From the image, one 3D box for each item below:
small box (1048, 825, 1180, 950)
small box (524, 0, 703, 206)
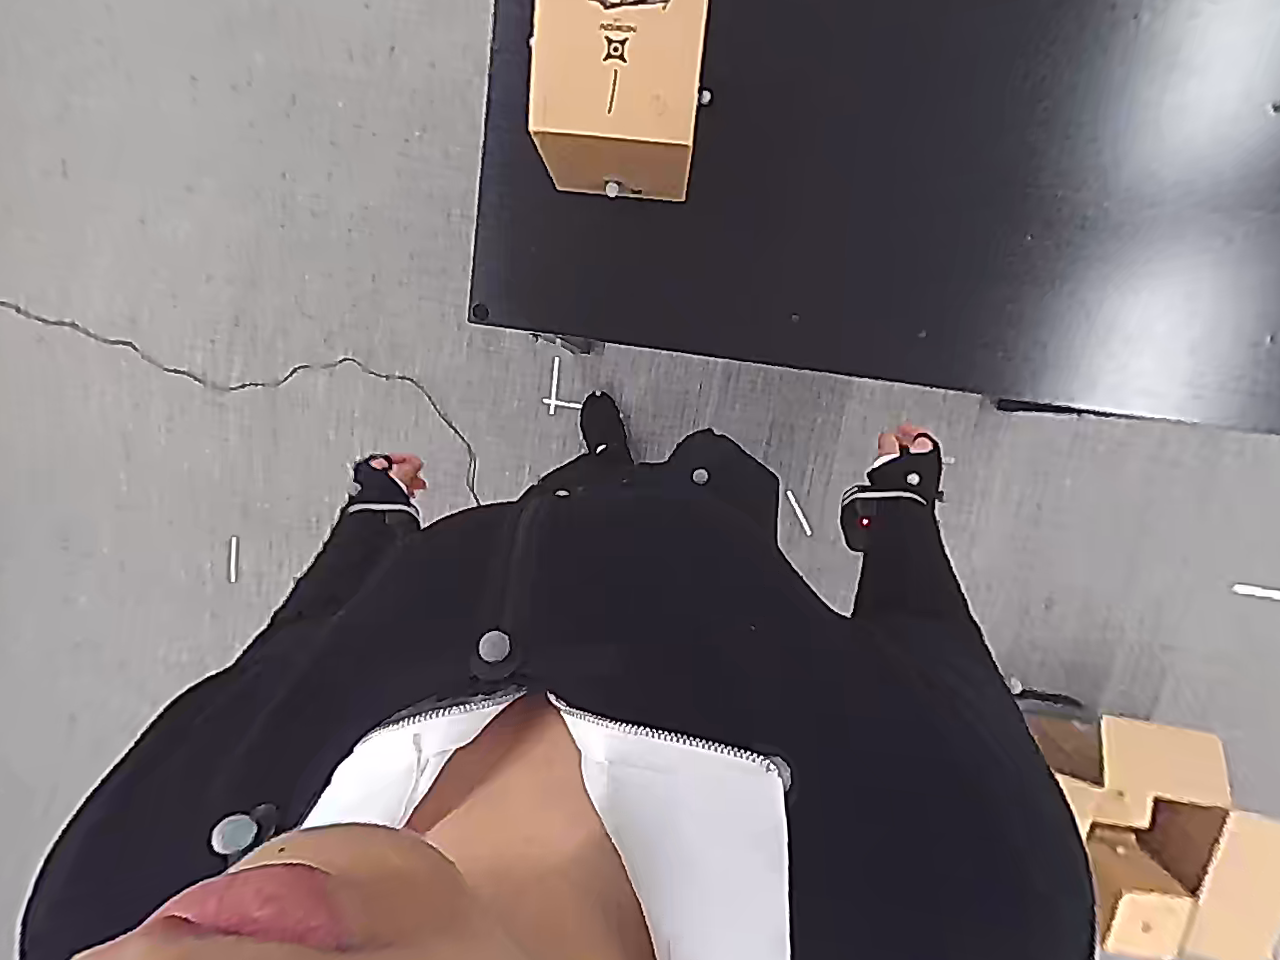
[{"bbox_3d":[1.173,1.015,1.356,0.168,0.176,0.179,6,101,1],"label":"small box"},{"bbox_3d":[-0.025,-0.434,0.608,0.168,0.176,0.179,6,100,1],"label":"small box"}]
